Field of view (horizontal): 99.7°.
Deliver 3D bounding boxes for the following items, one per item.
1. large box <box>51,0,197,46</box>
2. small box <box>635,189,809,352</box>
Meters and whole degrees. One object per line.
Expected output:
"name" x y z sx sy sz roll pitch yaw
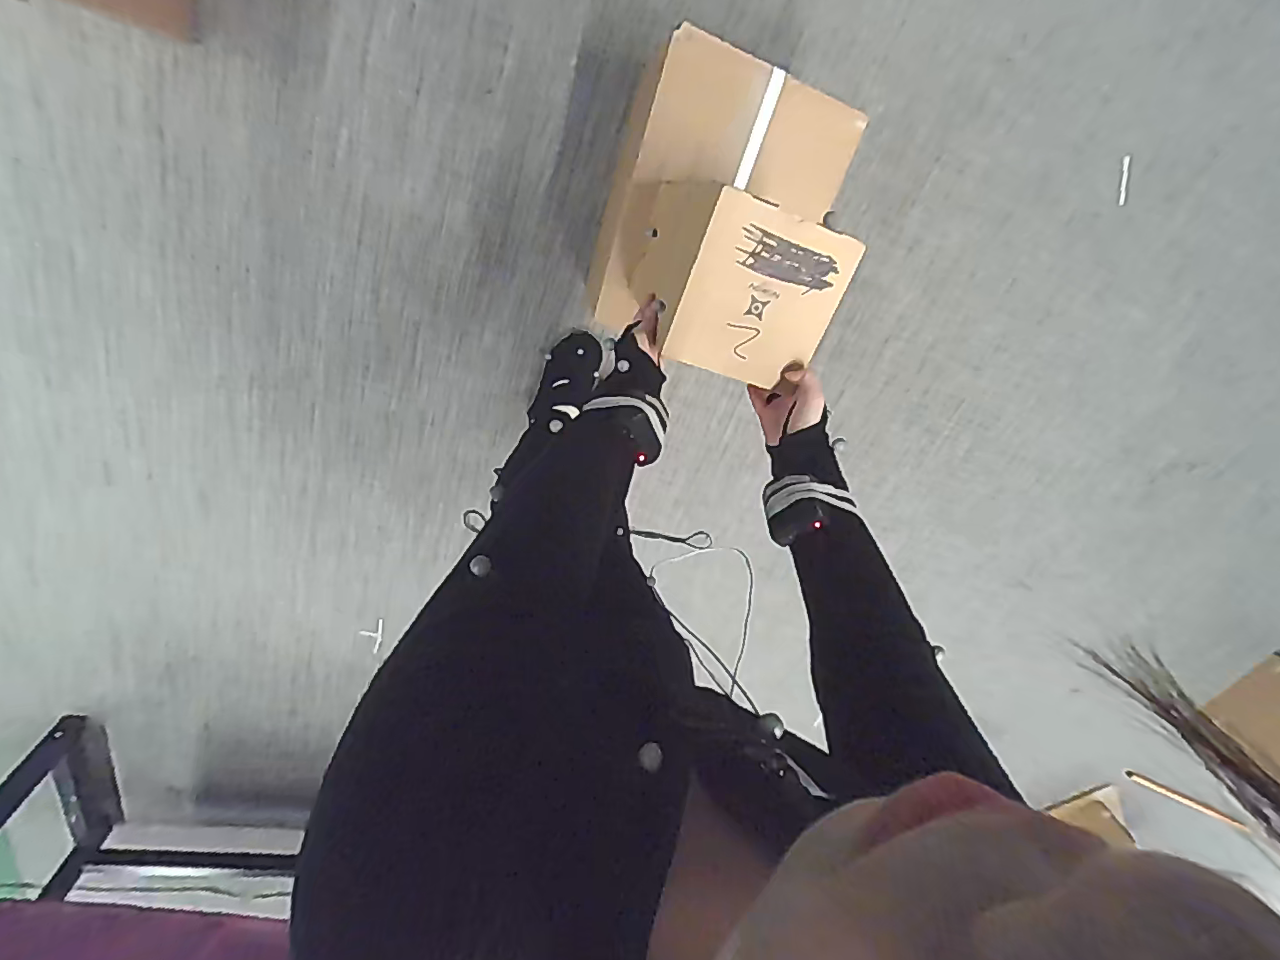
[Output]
"large box" -0.790 -0.838 0.637 0.320 0.320 0.408 14 115 -15
"small box" 0.104 -0.306 0.778 0.179 0.176 0.168 13 117 -14
